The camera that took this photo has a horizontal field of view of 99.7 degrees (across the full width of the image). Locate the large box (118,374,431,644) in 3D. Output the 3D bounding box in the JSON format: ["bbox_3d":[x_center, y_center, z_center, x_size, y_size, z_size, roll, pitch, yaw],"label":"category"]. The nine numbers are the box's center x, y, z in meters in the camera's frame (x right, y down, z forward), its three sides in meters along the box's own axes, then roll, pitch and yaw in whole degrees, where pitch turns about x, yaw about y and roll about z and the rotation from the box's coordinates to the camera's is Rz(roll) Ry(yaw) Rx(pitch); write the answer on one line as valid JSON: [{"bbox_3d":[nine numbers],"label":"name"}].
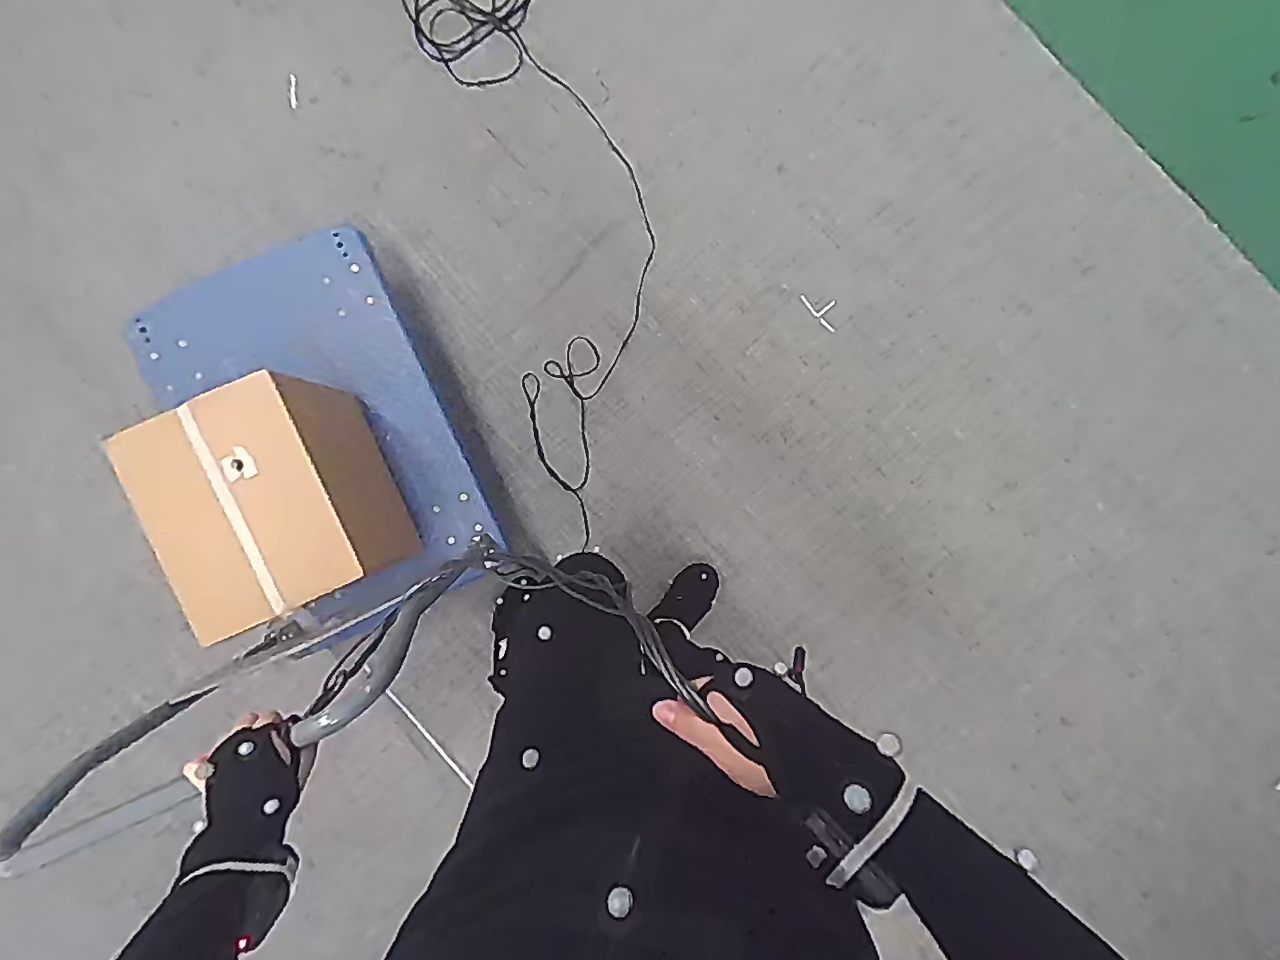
[{"bbox_3d":[-0.699,0.051,1.103,0.320,0.320,0.408,-25,91,-2],"label":"large box"}]
